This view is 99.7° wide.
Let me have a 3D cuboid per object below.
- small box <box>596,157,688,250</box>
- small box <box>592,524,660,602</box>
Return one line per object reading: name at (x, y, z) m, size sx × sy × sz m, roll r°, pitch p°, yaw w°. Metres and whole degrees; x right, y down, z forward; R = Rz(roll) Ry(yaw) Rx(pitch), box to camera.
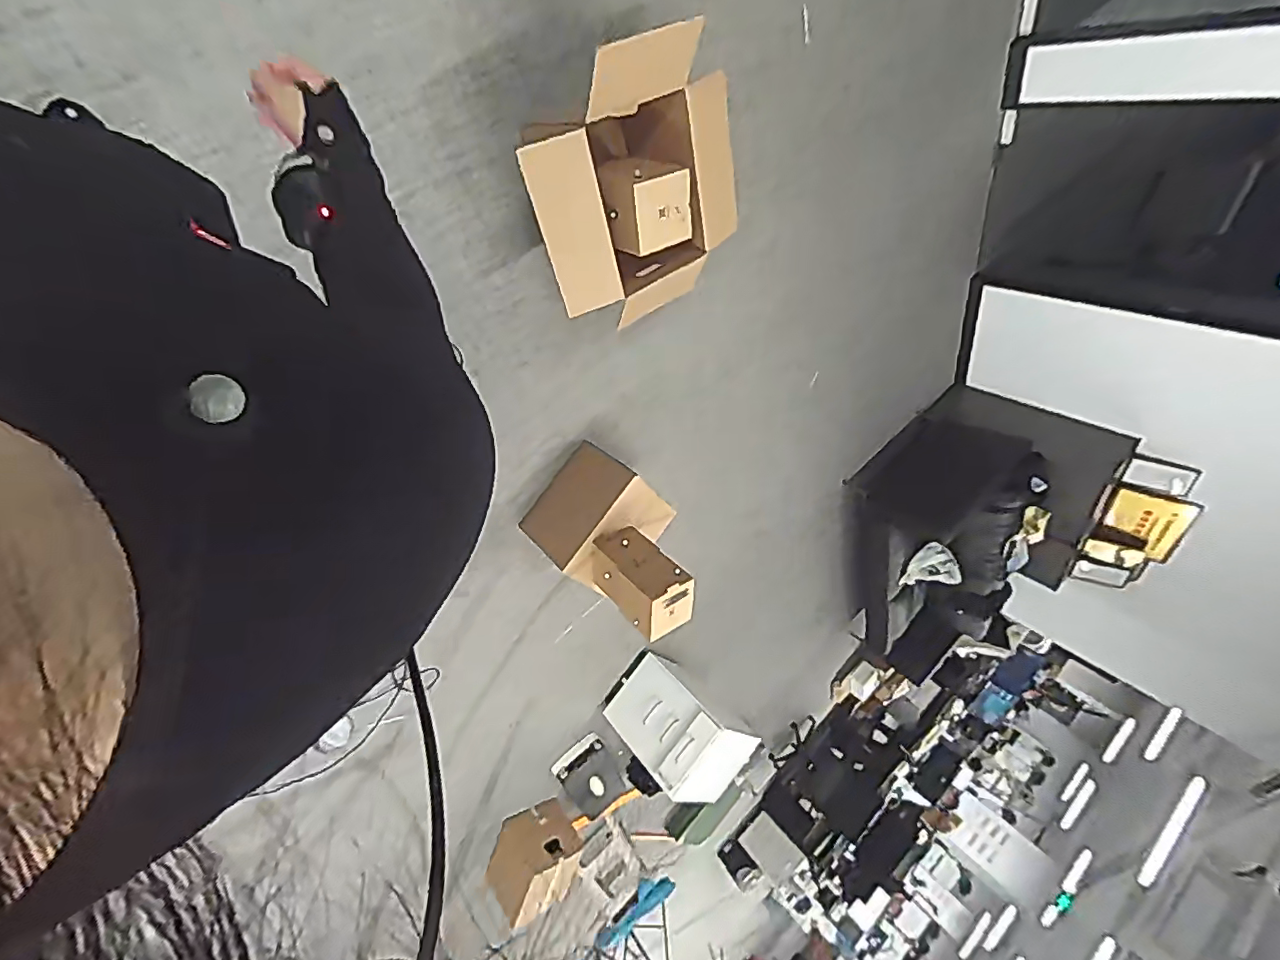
small box at (0.001, -0.713, 1.385) m, size 0.179 × 0.176 × 0.168 m, roll -32°, pitch 138°, yaw -24°
small box at (-0.050, 0.266, 1.806) m, size 0.168 × 0.176 × 0.179 m, roll -22°, pitch 127°, yaw -32°
